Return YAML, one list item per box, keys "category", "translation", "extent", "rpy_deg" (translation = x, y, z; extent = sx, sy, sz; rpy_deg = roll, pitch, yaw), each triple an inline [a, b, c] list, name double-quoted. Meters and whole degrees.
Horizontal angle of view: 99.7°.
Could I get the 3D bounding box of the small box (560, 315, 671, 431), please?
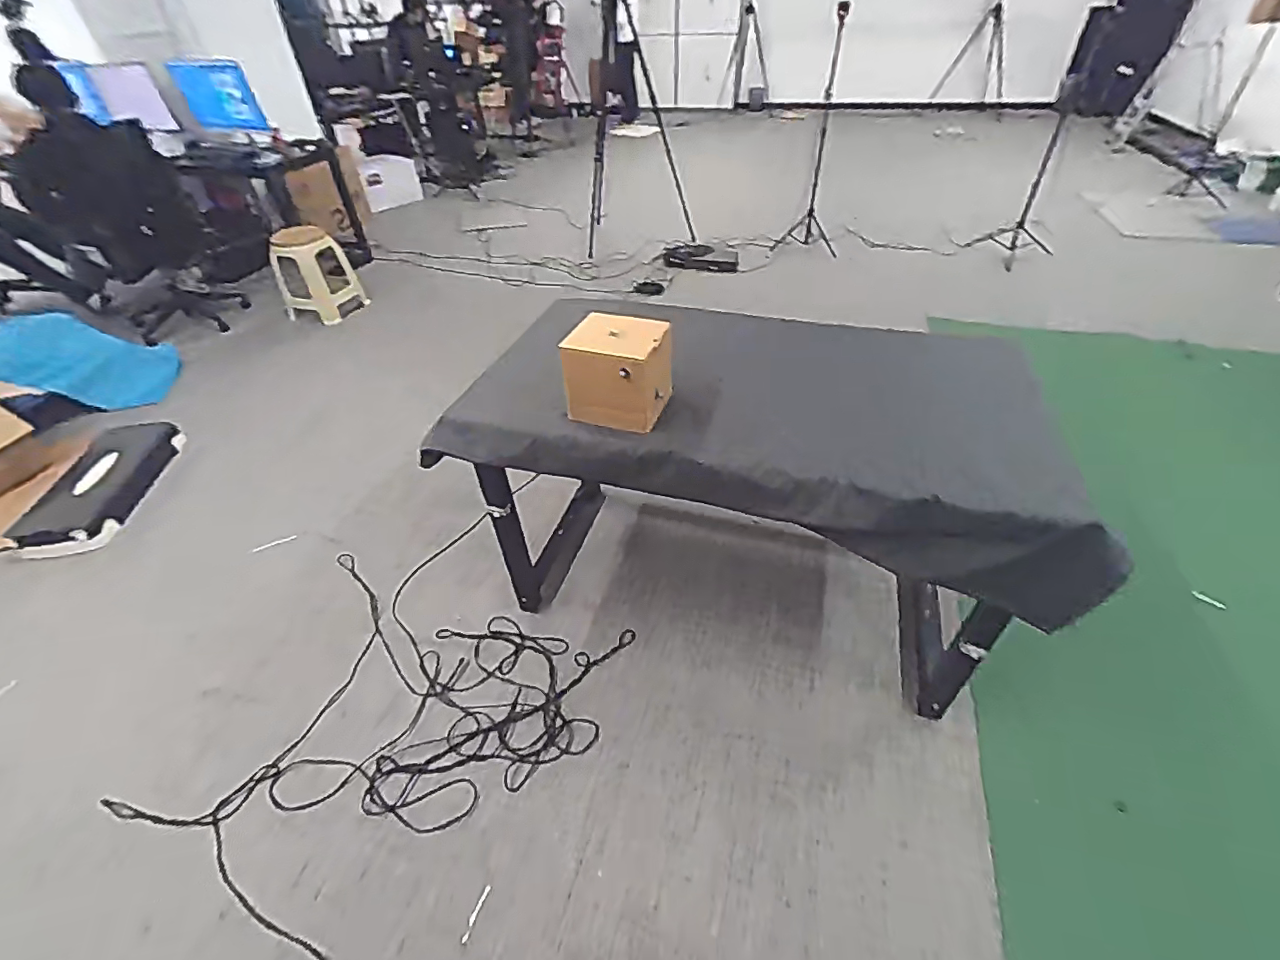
- category: "small box"
  translation: [-0.043, -0.218, 1.101]
  extent: [0.179, 0.176, 0.168]
  rpy_deg: [12, 42, 16]
